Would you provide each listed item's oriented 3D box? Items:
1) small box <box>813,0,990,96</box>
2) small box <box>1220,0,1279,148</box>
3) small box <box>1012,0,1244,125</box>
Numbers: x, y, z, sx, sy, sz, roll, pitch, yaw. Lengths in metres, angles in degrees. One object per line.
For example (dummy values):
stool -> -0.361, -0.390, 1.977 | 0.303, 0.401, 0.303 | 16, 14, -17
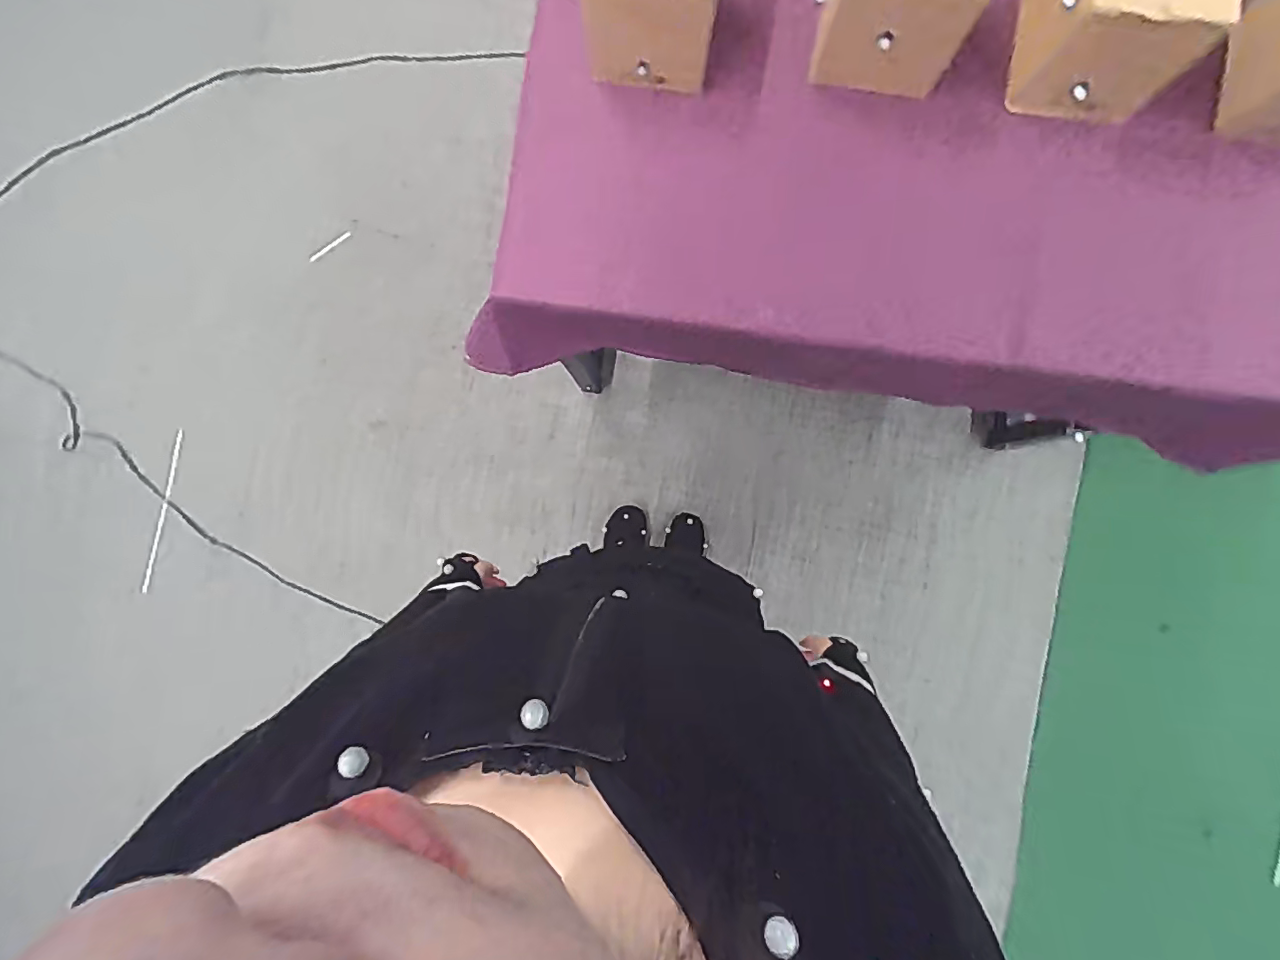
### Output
small box -> 0.352, -0.659, 0.727 | 0.179, 0.176, 0.168 | 11, 88, 5
small box -> 0.912, -0.559, 0.687 | 0.168, 0.176, 0.179 | 12, 91, 4
small box -> 0.630, -0.616, 0.711 | 0.168, 0.176, 0.179 | 9, 89, 4
